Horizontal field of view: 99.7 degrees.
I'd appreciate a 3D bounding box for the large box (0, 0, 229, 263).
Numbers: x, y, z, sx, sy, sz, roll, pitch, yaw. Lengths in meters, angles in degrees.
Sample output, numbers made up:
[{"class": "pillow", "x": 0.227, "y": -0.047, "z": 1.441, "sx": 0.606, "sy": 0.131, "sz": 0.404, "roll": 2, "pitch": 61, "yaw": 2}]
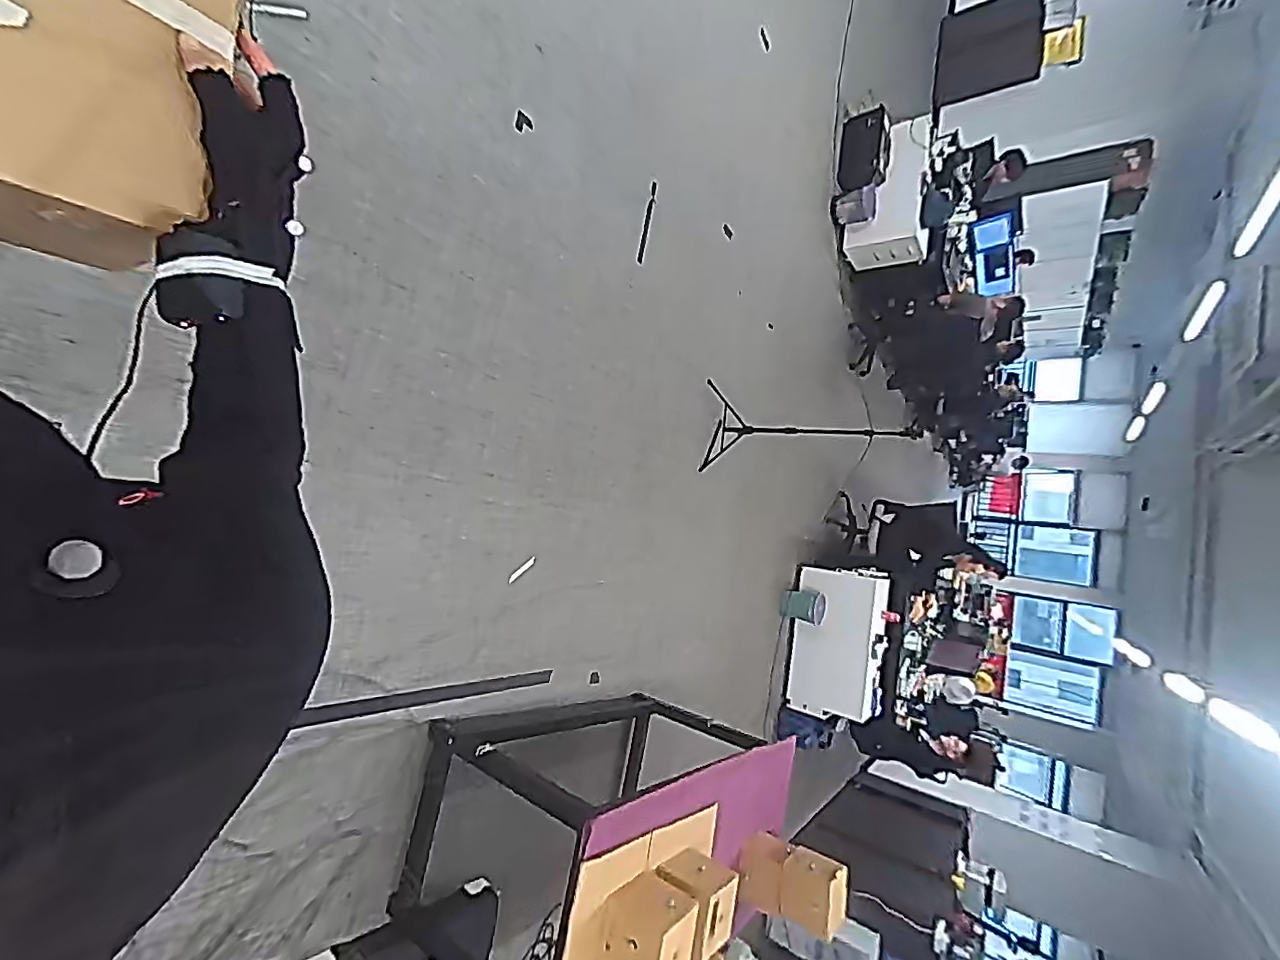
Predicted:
[{"class": "large box", "x": -0.575, "y": -0.381, "z": 0.365, "sx": 0.408, "sy": 0.320, "sz": 0.320, "roll": 7, "pitch": 95, "yaw": -54}]
